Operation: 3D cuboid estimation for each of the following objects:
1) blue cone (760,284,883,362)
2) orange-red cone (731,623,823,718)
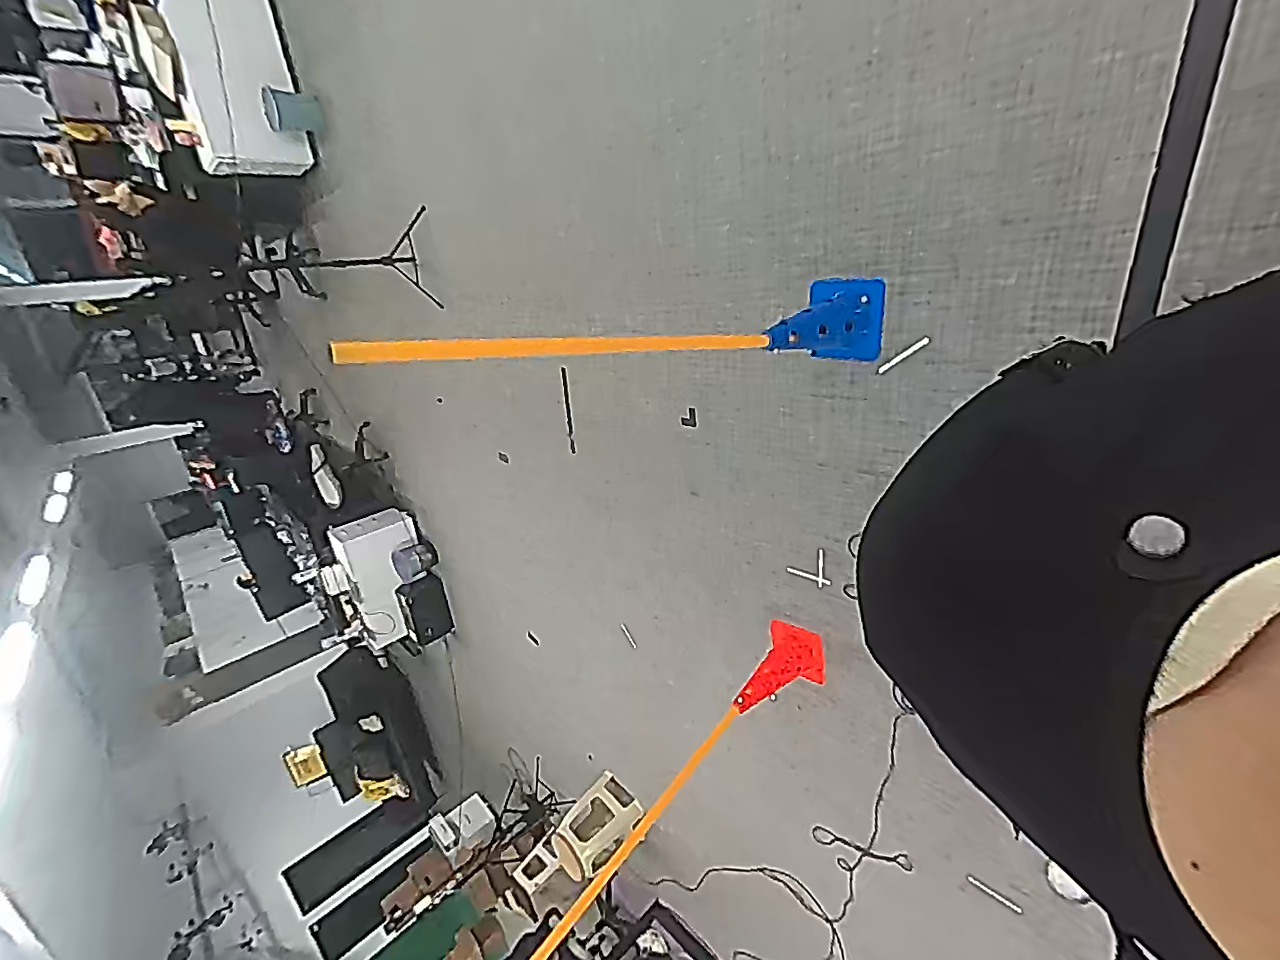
[{"bbox_3d":[0.408,-0.349,1.288,0.193,0.380,0.192,20,124,43],"label":"blue cone"},{"bbox_3d":[0.418,0.656,1.762,0.199,0.360,0.198,10,116,45],"label":"orange-red cone"}]
